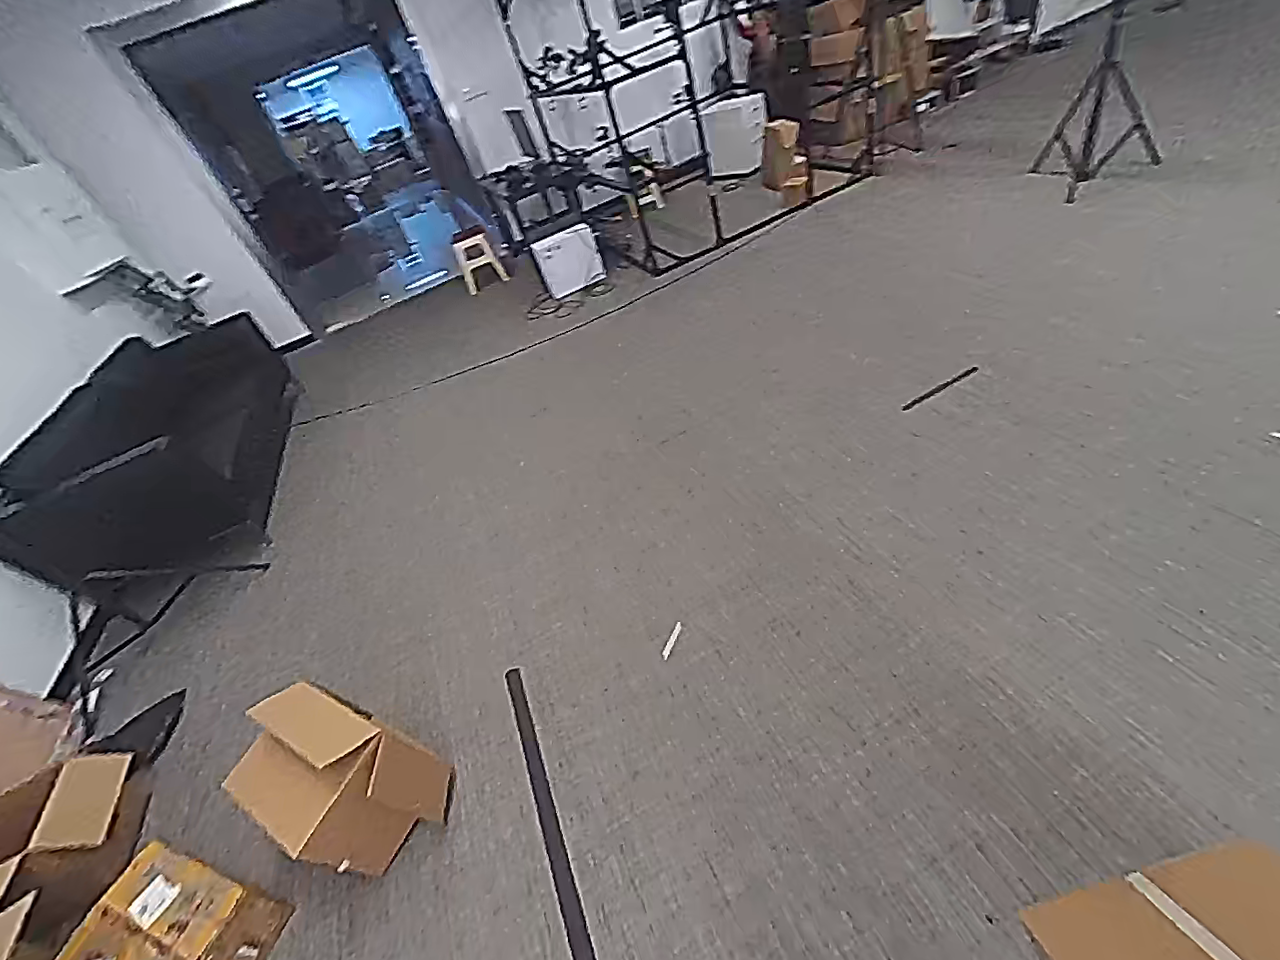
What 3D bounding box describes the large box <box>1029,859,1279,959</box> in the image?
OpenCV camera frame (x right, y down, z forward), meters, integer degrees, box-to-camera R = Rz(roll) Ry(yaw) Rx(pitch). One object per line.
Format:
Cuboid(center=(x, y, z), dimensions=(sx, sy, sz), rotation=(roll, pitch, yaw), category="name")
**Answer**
Cuboid(center=(0.682, 0.663, 0.496), dimensions=(0.320, 0.320, 0.408), rotation=(-24, -8, 7), category="large box")
